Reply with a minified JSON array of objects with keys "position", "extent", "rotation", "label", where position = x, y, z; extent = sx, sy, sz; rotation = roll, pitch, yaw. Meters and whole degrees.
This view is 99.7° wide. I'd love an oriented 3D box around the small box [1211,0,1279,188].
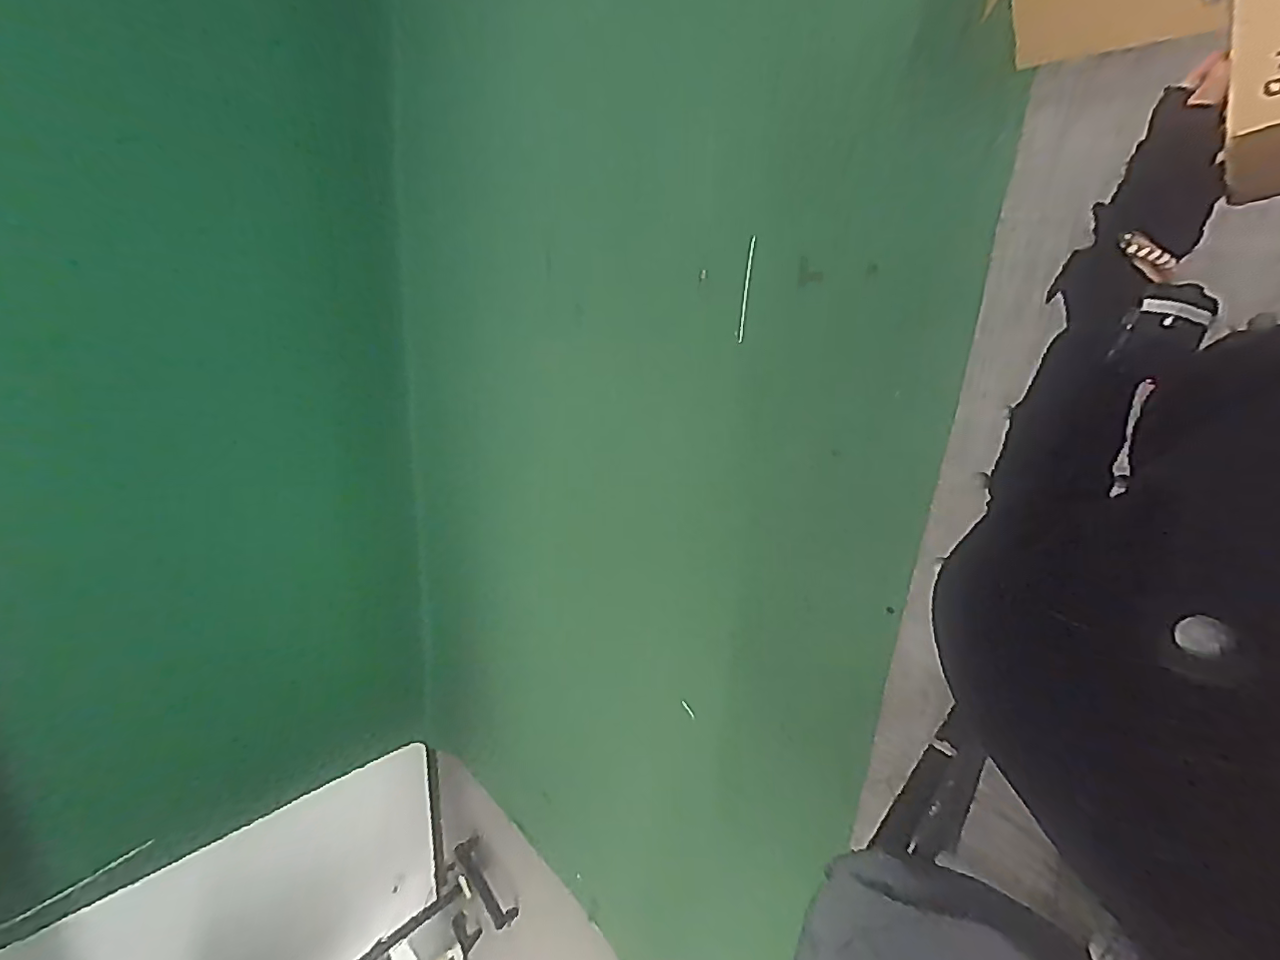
[{"position":[0.473,-0.305,0.321],"extent":[0.179,0.176,0.168],"rotation":[4,98,46],"label":"small box"}]
